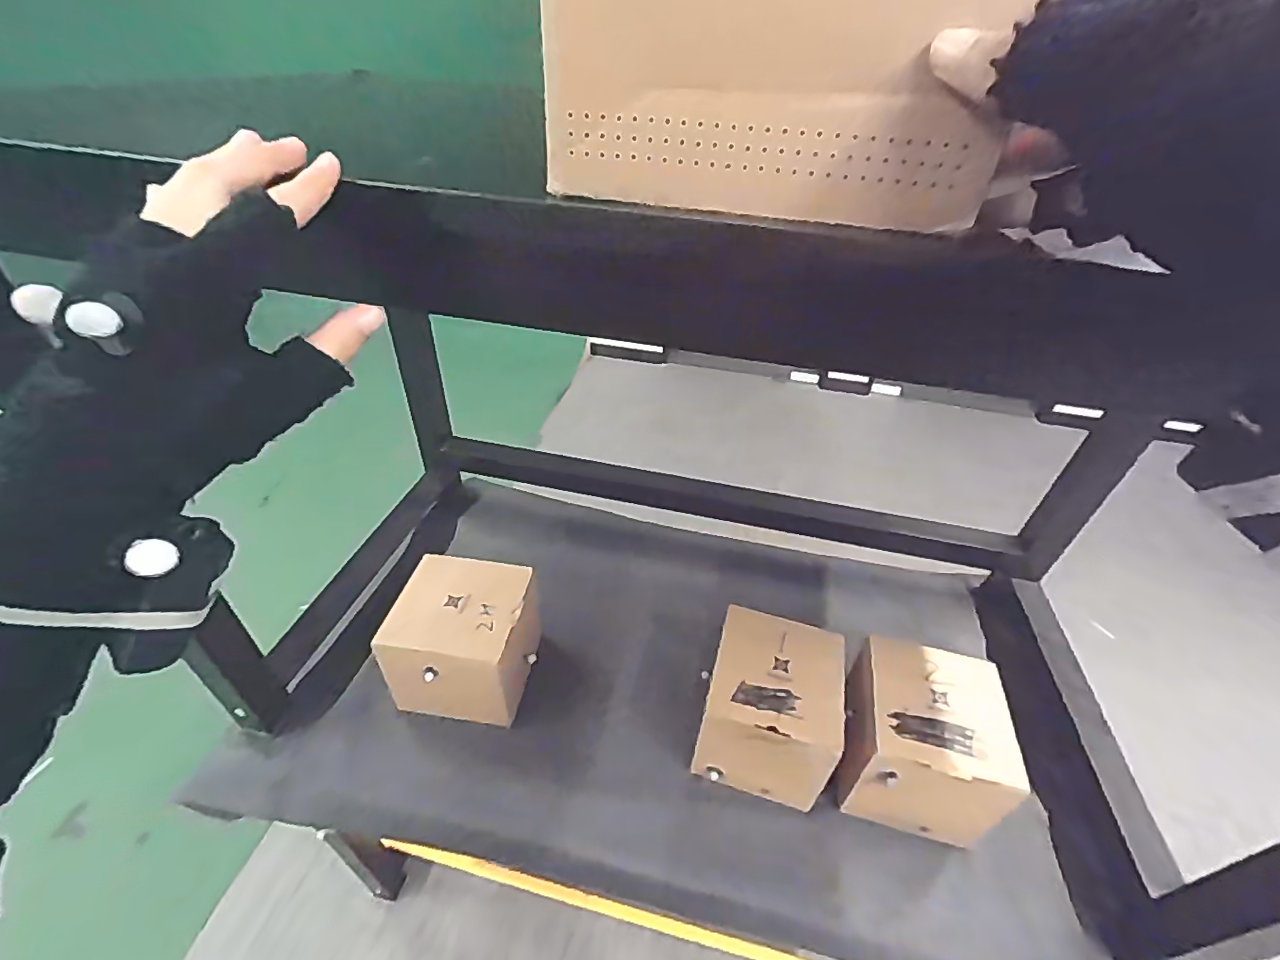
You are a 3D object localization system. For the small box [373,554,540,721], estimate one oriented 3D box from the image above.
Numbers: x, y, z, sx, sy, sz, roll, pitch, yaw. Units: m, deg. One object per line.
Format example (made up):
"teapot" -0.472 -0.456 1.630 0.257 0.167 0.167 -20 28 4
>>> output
"small box" -0.259 0.237 0.813 0.179 0.176 0.168 8 39 4
